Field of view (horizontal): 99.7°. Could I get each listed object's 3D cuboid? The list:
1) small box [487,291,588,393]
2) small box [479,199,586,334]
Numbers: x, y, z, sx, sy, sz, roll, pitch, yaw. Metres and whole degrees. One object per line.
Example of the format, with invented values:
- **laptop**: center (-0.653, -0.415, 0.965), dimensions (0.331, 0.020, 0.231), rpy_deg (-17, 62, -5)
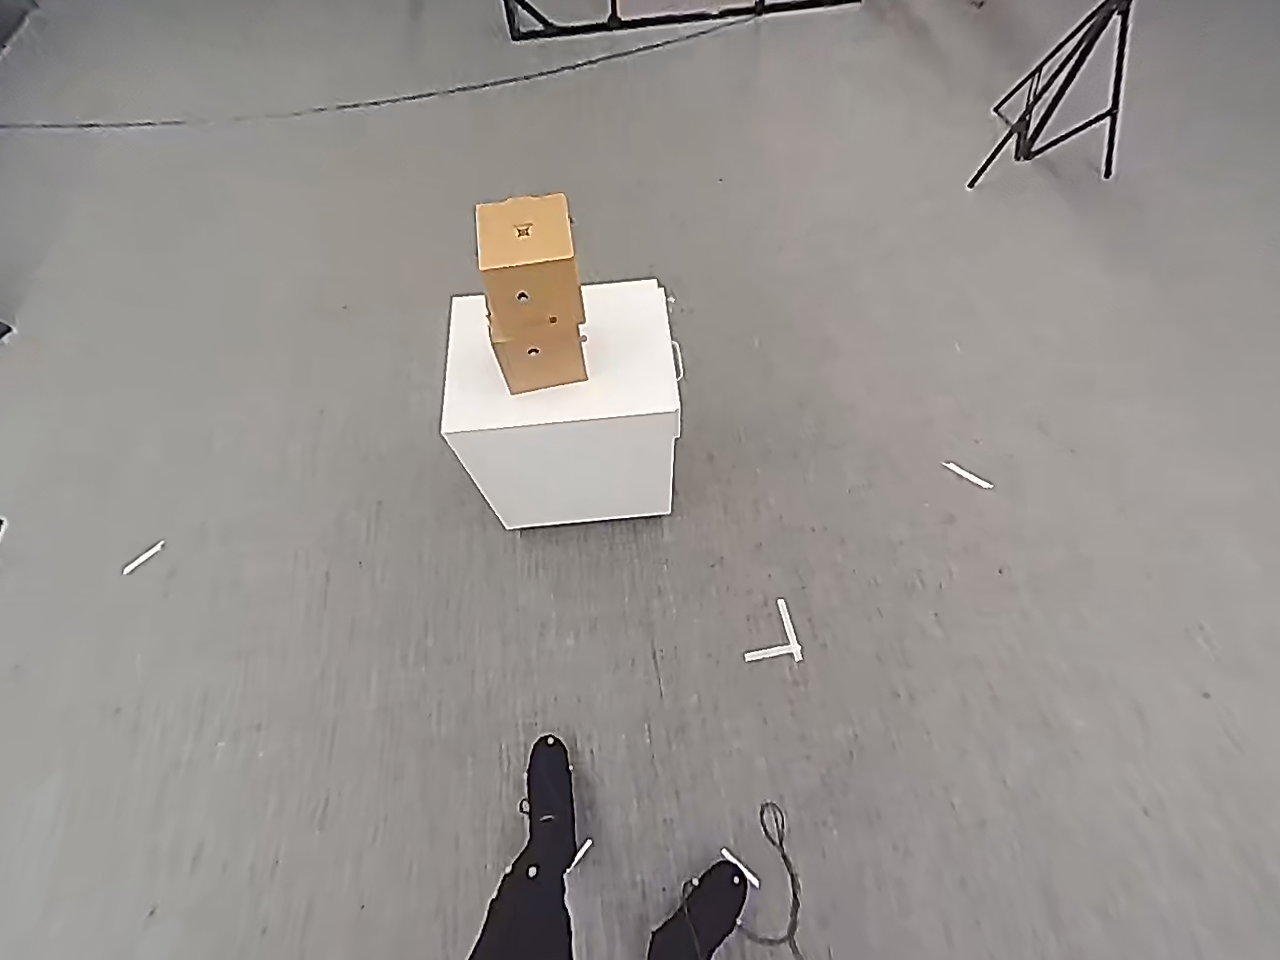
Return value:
- **small box**: center (-0.217, -0.307, 1.168), dimensions (0.179, 0.176, 0.168), rpy_deg (-11, 63, -5)
- **small box**: center (-0.200, -0.397, 1.031), dimensions (0.168, 0.176, 0.179), rpy_deg (-9, 62, -3)
